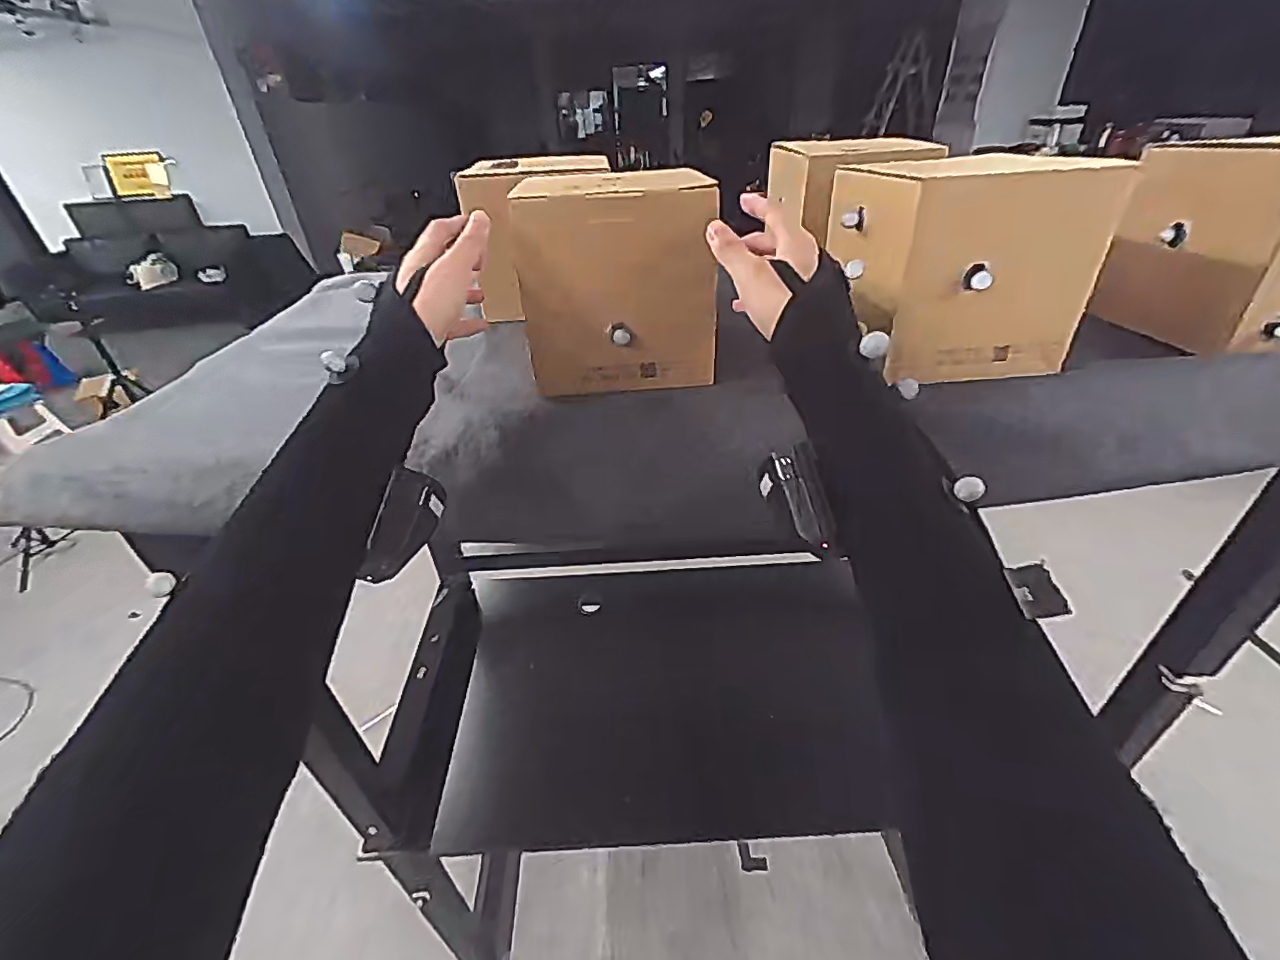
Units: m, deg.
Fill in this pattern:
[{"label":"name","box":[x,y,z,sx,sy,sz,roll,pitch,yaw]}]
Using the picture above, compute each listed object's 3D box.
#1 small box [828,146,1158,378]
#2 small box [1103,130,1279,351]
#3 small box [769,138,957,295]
[{"label":"small box","box":[0.288,-0.198,0.494,0.168,0.176,0.179,-4,32,-2]},{"label":"small box","box":[0.589,-0.218,0.492,0.168,0.176,0.179,-3,31,2]},{"label":"small box","box":[0.277,-0.354,0.723,0.168,0.176,0.179,-4,34,-1]}]
